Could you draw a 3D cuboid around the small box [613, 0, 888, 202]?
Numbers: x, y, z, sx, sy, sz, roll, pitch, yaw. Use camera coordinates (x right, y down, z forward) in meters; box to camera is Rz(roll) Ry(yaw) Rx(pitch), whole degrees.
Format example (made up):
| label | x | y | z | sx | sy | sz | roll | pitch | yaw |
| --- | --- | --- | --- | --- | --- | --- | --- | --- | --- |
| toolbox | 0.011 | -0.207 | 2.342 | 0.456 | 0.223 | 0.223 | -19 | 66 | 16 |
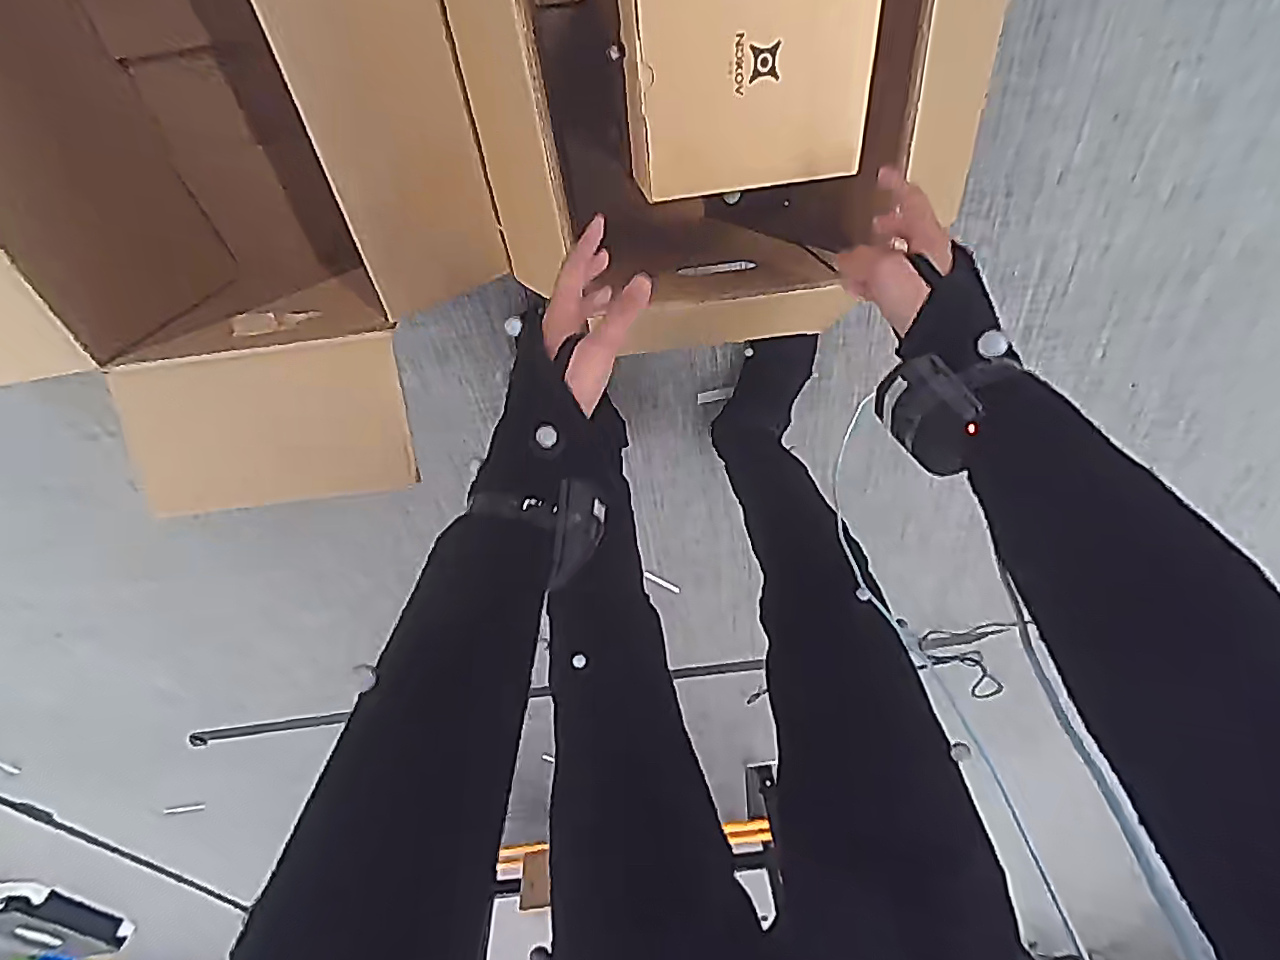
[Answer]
| label | x | y | z | sx | sy | sz | roll | pitch | yaw |
| --- | --- | --- | --- | --- | --- | --- | --- | --- | --- |
| small box | 0.076 | -0.347 | 0.443 | 0.179 | 0.176 | 0.168 | -8 | 131 | -1 |
